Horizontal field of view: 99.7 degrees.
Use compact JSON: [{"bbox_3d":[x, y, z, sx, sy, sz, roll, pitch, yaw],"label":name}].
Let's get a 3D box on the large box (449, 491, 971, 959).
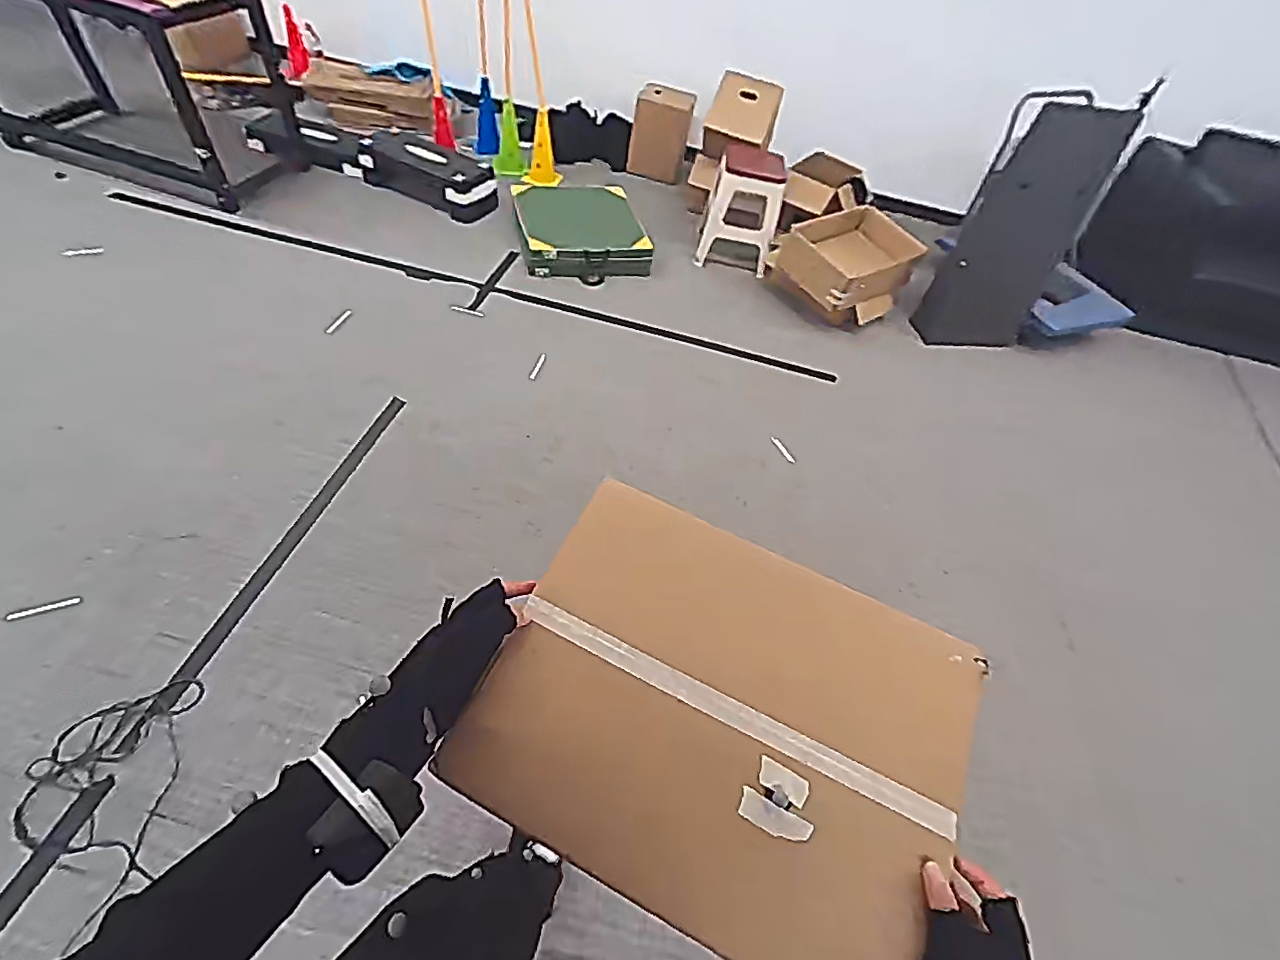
[{"bbox_3d":[0.070,0.277,0.621,0.408,0.320,0.320,25,64,10],"label":"large box"}]
